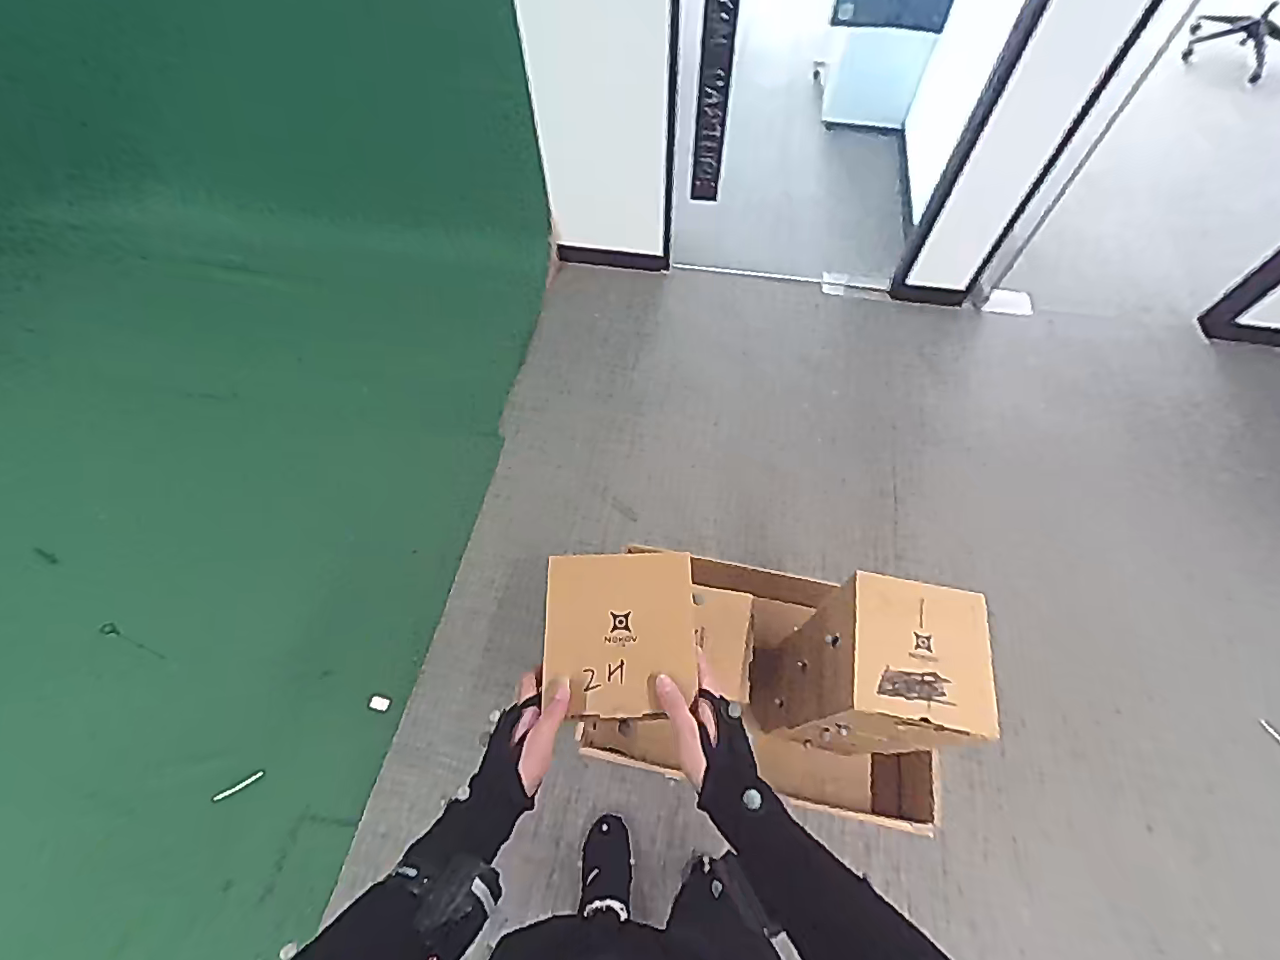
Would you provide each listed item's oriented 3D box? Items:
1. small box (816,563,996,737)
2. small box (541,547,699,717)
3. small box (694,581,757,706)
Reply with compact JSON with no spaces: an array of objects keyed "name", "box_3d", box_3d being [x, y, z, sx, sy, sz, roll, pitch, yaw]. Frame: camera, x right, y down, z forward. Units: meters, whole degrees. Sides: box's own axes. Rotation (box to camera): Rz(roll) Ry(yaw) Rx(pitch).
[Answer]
[{"name":"small box","box_3d":[0.344,0.236,0.731,0.168,0.176,0.179,11,61,6]},{"name":"small box","box_3d":[-0.019,0.191,0.660,0.168,0.176,0.179,-2,65,2]},{"name":"small box","box_3d":[0.087,0.272,0.901,0.179,0.176,0.168,8,62,5]}]
